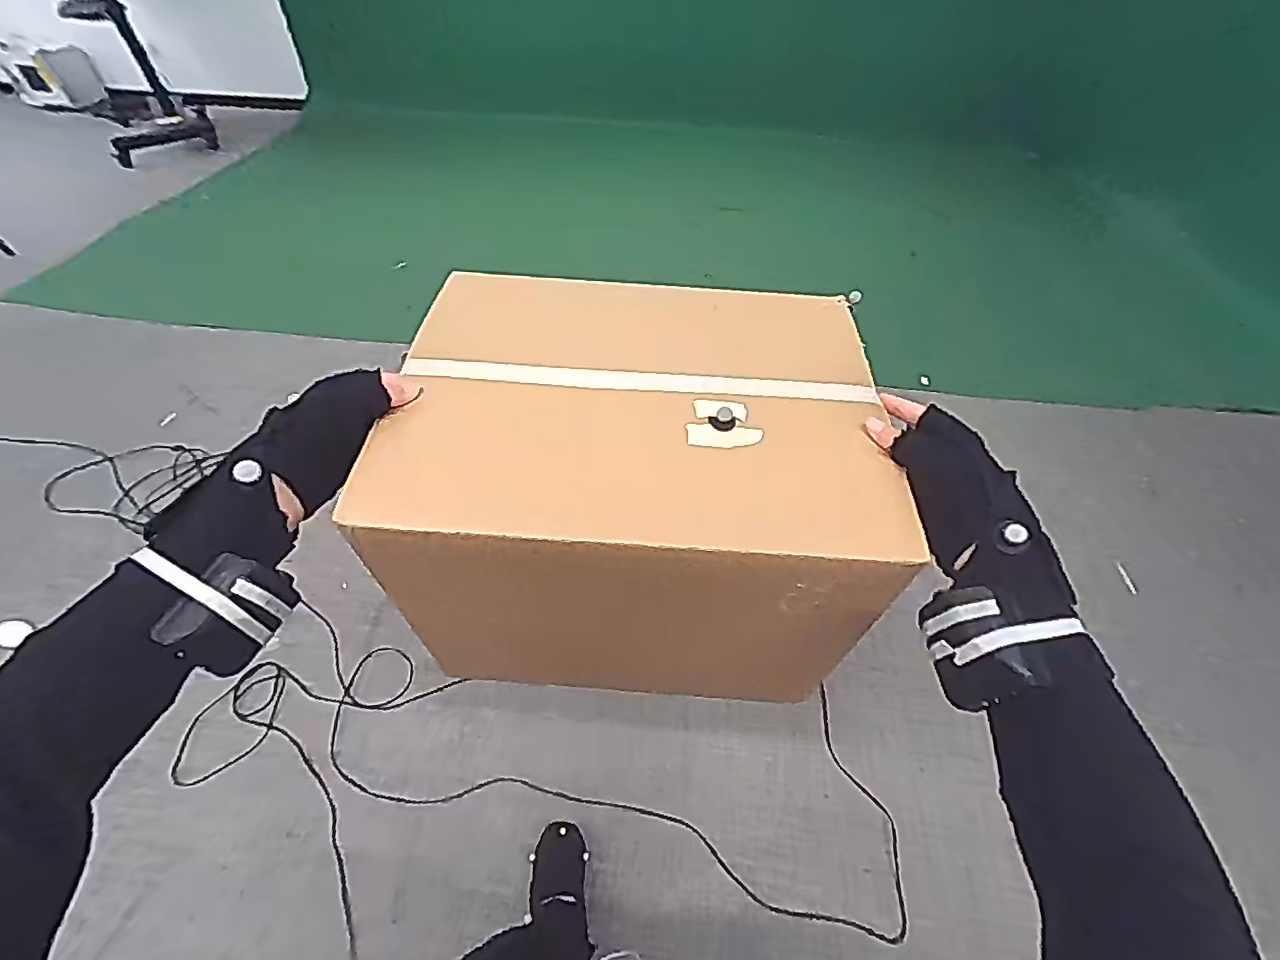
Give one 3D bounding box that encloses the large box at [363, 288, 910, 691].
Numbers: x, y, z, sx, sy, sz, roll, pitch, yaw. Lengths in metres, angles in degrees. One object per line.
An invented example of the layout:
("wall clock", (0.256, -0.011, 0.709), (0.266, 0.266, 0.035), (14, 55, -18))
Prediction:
("large box", (-0.004, 0.019, 0.593), (0.408, 0.320, 0.320), (4, 51, 0))
